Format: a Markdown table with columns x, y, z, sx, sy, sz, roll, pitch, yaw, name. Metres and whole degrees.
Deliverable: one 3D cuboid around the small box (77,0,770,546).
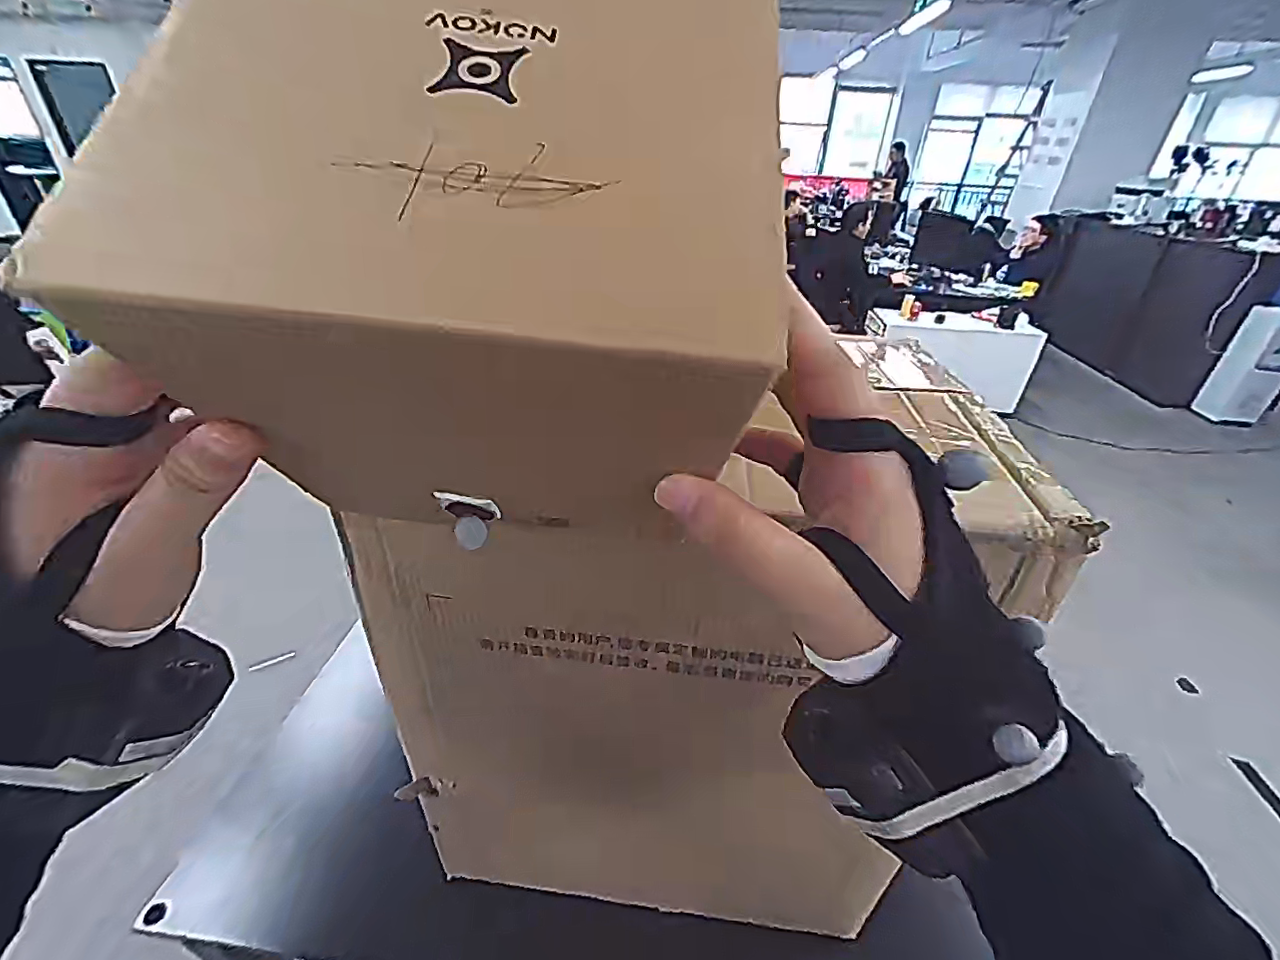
| x | y | z | sx | sy | sz | roll | pitch | yaw | name |
| --- | --- | --- | --- | --- | --- | --- | --- | --- | --- |
| -0.050 | -0.082 | 0.233 | 0.168 | 0.176 | 0.179 | 4 | 68 | -2 | small box |
